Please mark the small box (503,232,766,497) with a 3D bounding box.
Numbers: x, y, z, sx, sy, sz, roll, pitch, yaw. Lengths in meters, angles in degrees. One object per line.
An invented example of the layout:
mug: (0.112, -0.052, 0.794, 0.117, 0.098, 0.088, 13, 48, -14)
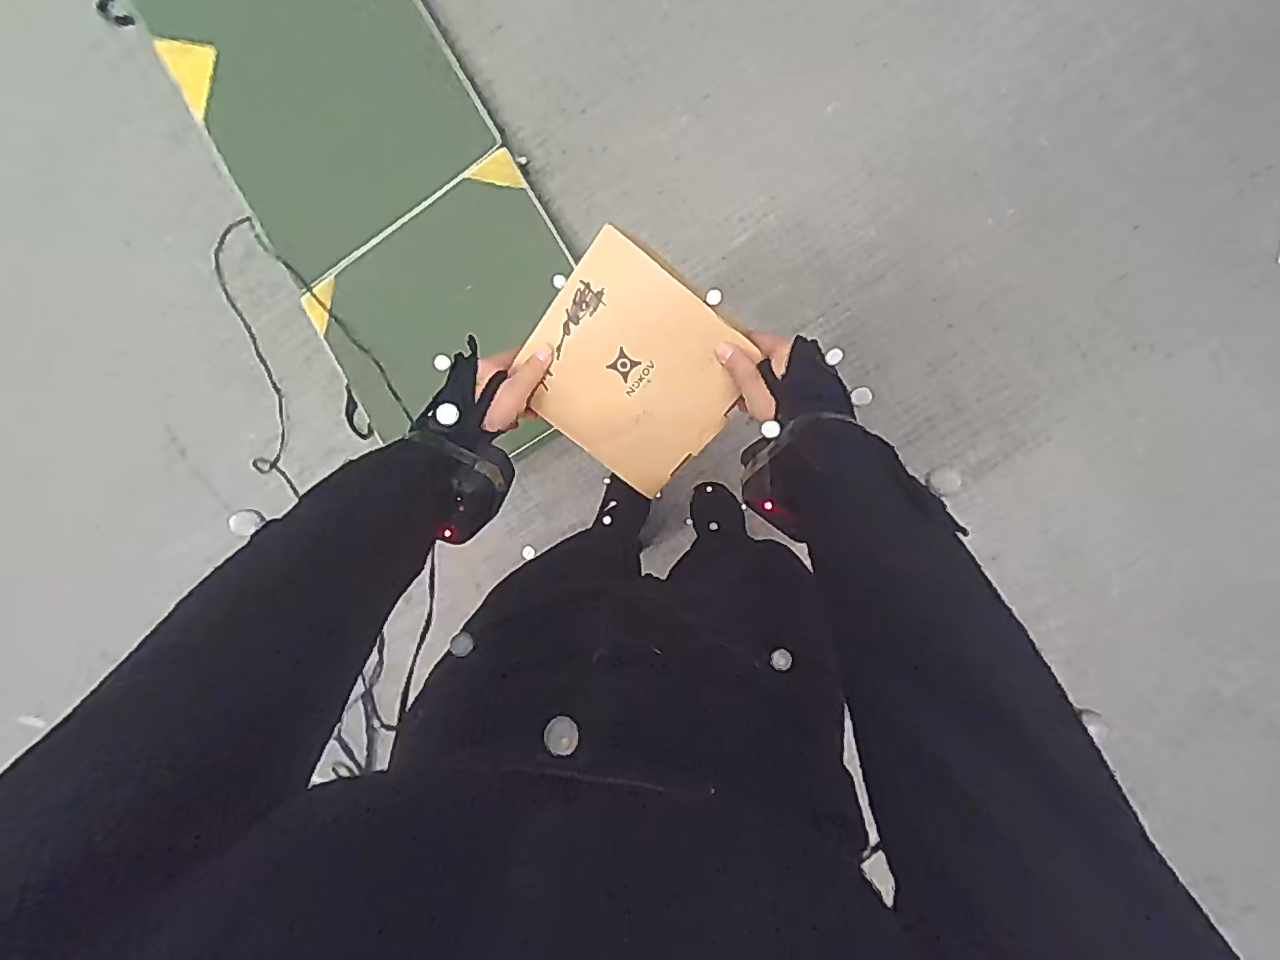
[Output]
small box: (0.001, -0.120, 0.542, 0.179, 0.176, 0.168, 37, 110, -7)
